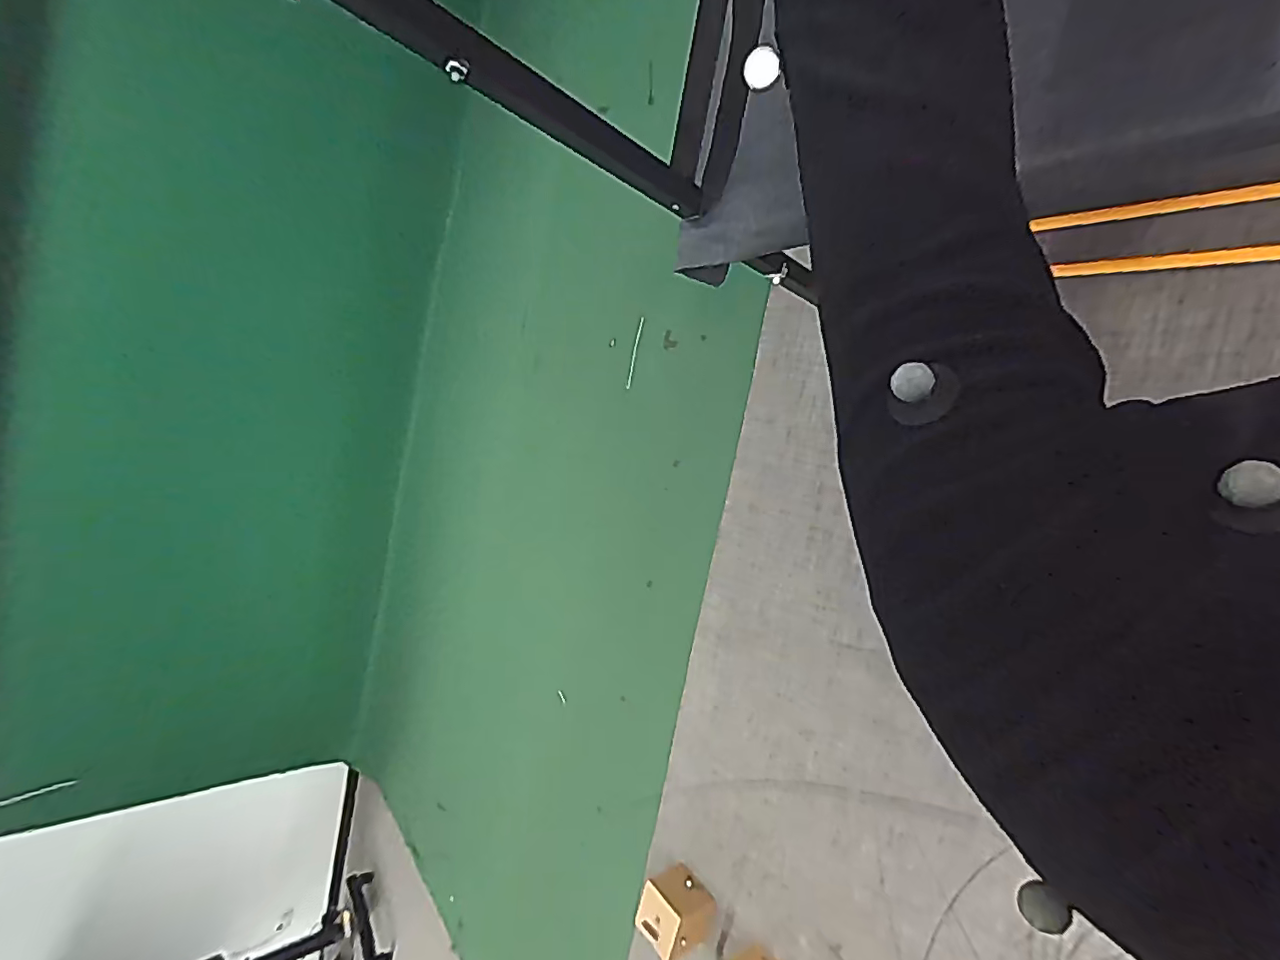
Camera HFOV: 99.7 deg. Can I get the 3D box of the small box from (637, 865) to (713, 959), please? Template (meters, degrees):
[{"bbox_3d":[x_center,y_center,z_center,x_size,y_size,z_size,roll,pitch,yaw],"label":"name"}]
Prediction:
[{"bbox_3d":[0.119,1.445,1.803,0.168,0.176,0.179,22,99,47],"label":"small box"}]

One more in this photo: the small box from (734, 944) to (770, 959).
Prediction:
[{"bbox_3d":[0.329,1.514,1.564,0.168,0.176,0.179,16,97,48],"label":"small box"}]
